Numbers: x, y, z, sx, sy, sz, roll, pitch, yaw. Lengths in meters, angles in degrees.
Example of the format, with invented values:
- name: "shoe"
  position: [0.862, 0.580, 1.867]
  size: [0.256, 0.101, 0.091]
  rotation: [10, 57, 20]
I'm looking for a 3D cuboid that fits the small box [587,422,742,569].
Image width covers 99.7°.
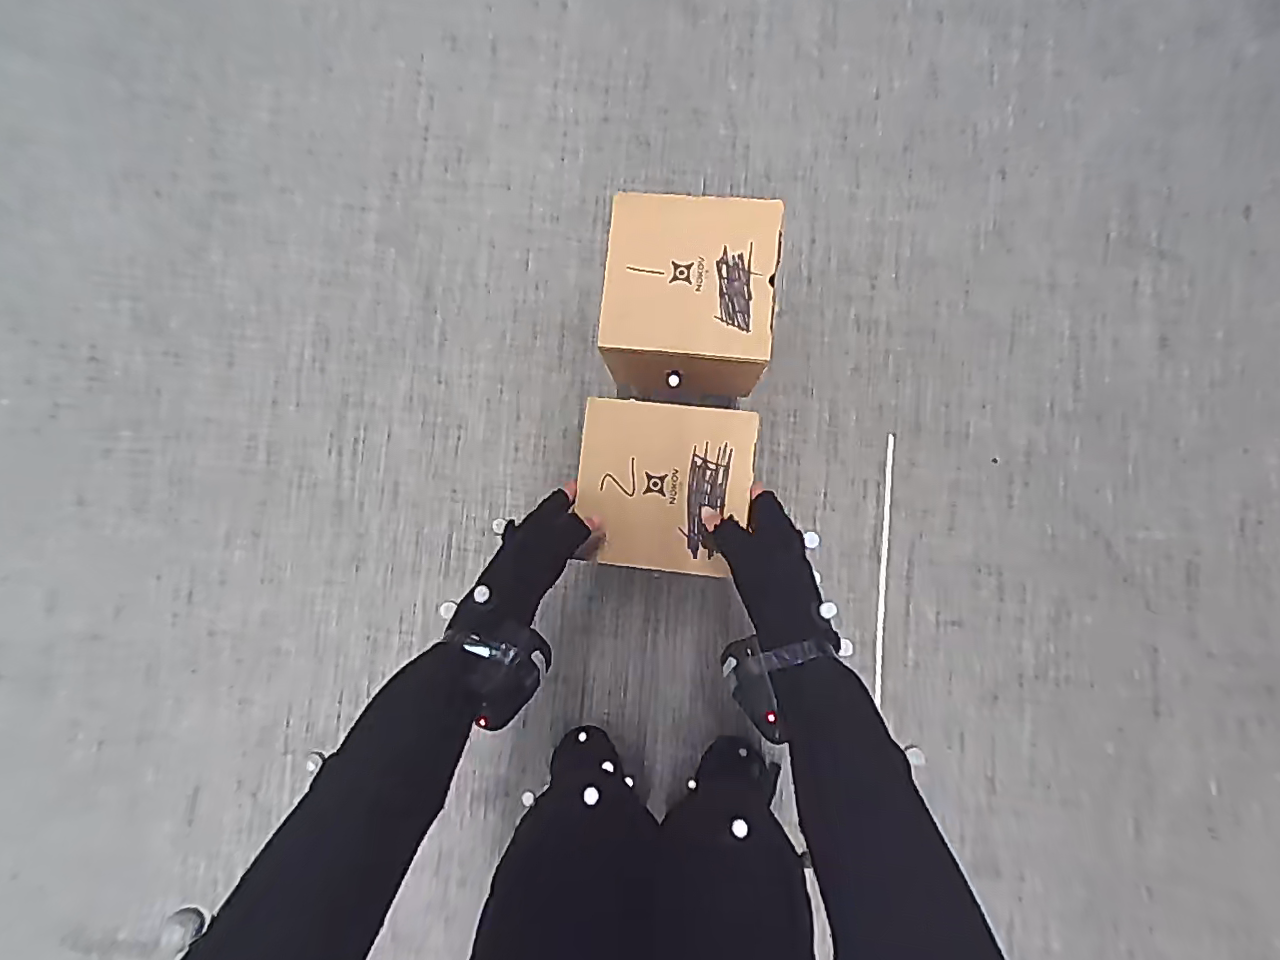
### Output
- name: "small box"
  position: [0.038, 0.024, 0.773]
  size: [0.179, 0.176, 0.168]
  rotation: [10, 87, 5]
